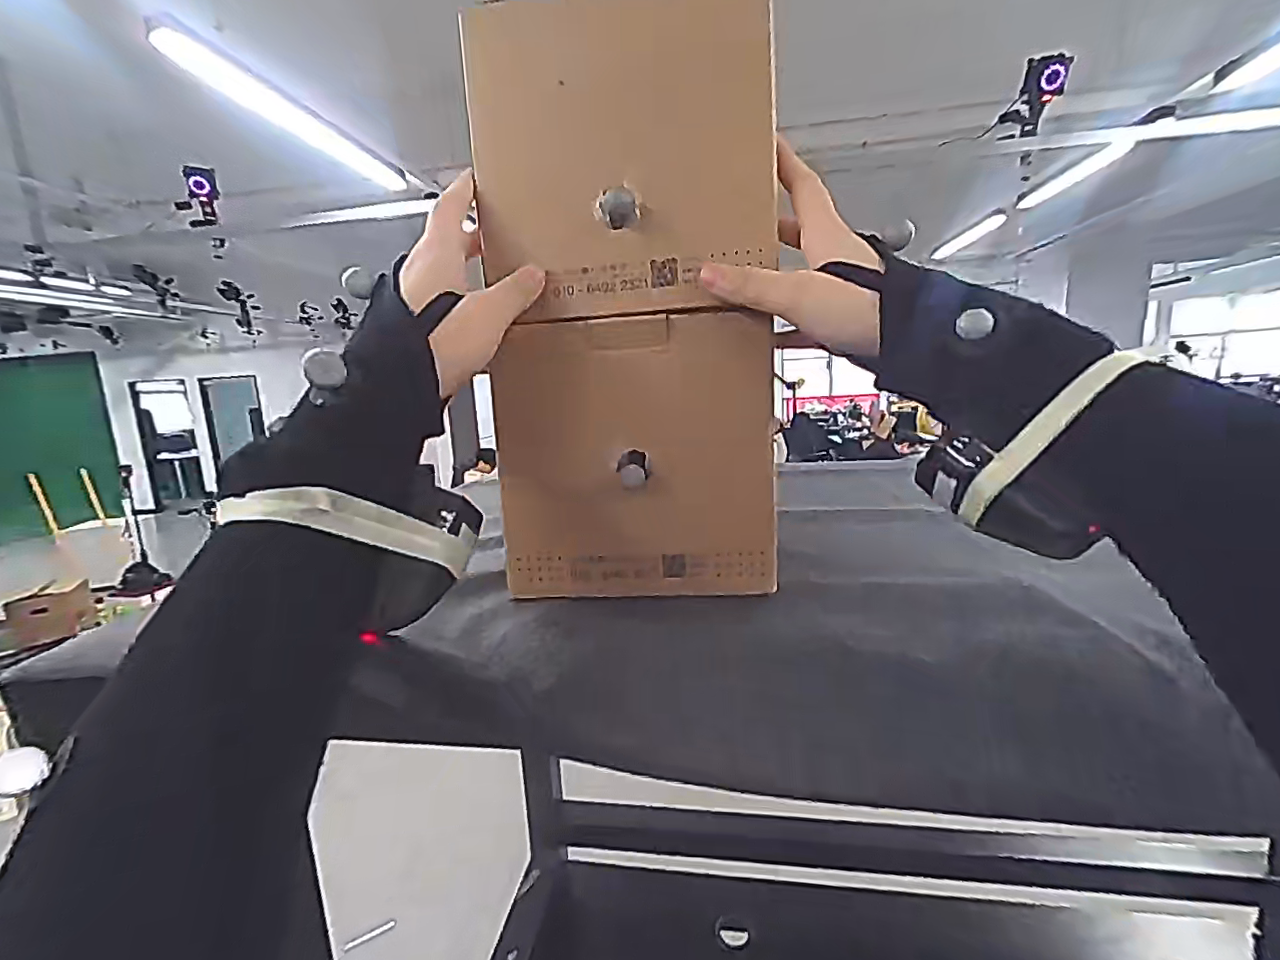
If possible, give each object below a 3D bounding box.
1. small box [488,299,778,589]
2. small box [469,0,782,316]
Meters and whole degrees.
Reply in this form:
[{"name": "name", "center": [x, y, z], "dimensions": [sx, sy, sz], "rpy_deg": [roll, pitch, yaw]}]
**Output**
[{"name": "small box", "center": [0.005, -0.026, 0.393], "dimensions": [0.168, 0.176, 0.179], "rpy_deg": [-1, 9, 5]}, {"name": "small box", "center": [0.003, -0.190, 0.368], "dimensions": [0.168, 0.176, 0.179], "rpy_deg": [-3, 9, 8]}]
